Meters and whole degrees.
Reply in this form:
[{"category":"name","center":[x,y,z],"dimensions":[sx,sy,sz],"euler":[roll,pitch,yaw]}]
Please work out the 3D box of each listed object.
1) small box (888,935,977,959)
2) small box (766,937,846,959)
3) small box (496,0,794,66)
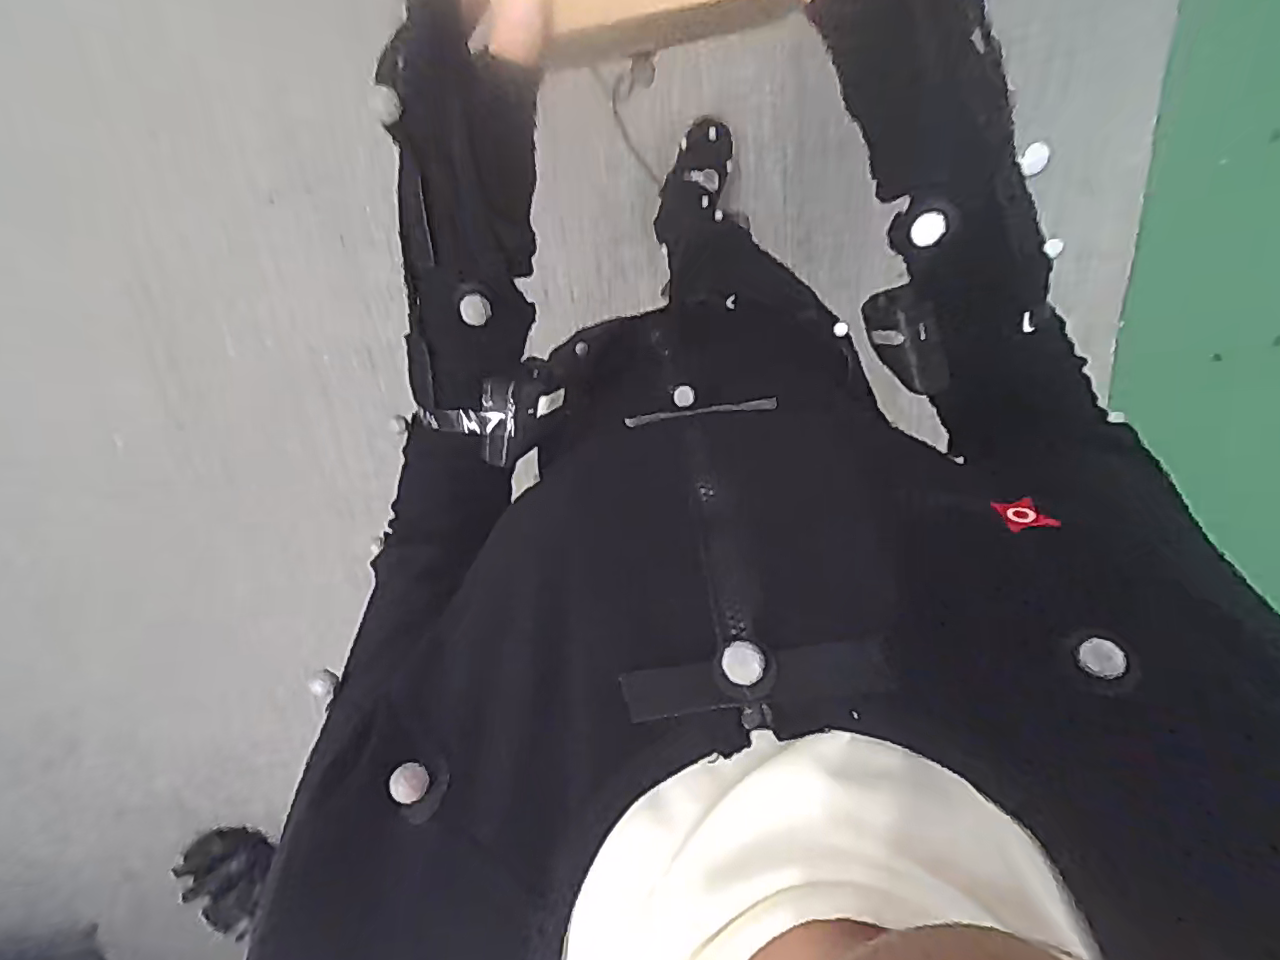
[{"category":"small box","center":[0.627,1.085,1.119],"dimensions":[0.168,0.176,0.179],"euler":[-5,110,1]},{"category":"small box","center":[0.358,1.090,1.112],"dimensions":[0.168,0.176,0.179],"euler":[-3,110,-2]},{"category":"small box","center":[-0.001,-0.324,0.253],"dimensions":[0.168,0.176,0.179],"euler":[-10,123,2]}]
